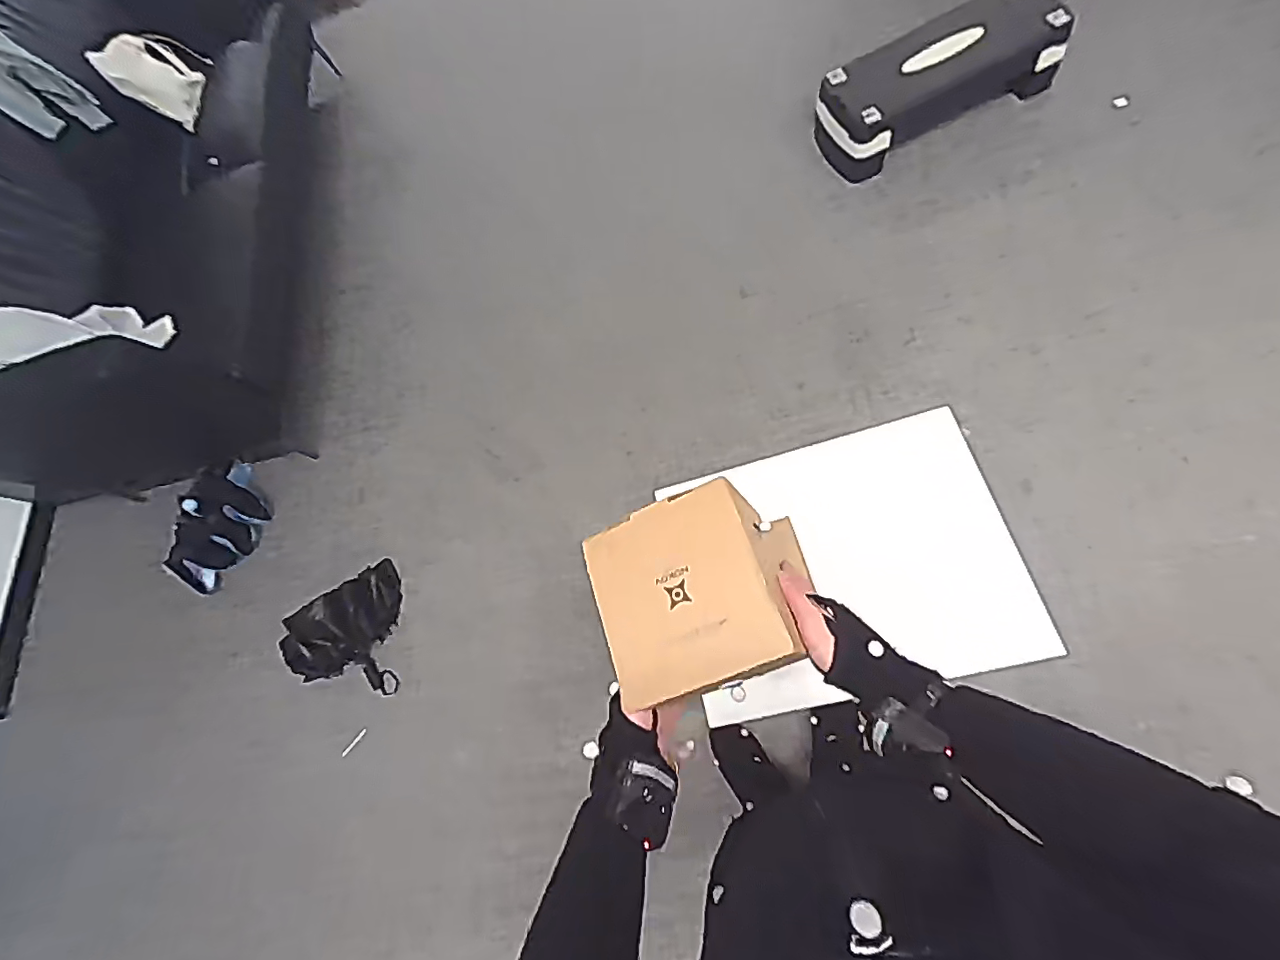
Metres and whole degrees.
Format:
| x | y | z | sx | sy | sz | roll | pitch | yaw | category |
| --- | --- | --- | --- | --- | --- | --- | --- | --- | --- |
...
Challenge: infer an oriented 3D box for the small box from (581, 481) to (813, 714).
| x | y | z | sx | sy | sz | roll | pitch | yaw | category |
| --- | --- | --- | --- | --- | --- | --- | --- | --- | --- |
| 0.065 | 0.129 | 0.573 | 0.168 | 0.176 | 0.179 | -27 | 65 | 16 | small box |

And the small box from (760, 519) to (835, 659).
| x | y | z | sx | sy | sz | roll | pitch | yaw | category |
| --- | --- | --- | --- | --- | --- | --- | --- | --- | --- |
| 0.169 | 0.179 | 0.787 | 0.168 | 0.176 | 0.179 | -18 | 67 | 10 | small box |
